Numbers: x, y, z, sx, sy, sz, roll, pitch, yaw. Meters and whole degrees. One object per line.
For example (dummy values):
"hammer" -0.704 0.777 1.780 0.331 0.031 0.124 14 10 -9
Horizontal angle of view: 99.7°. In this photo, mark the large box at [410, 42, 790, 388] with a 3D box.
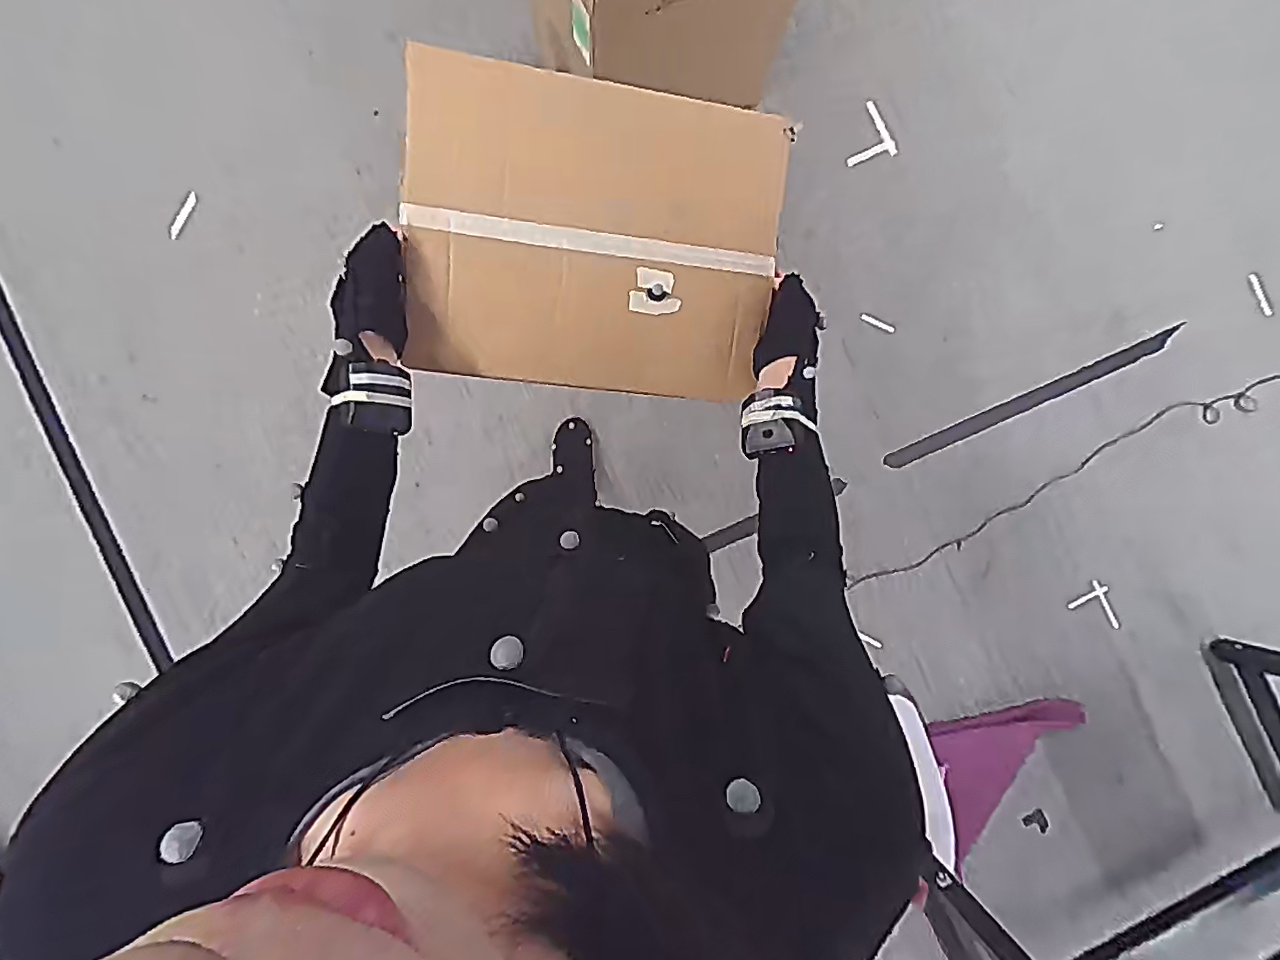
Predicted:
"large box" -0.066 -0.298 0.730 0.408 0.320 0.320 4 101 -10
